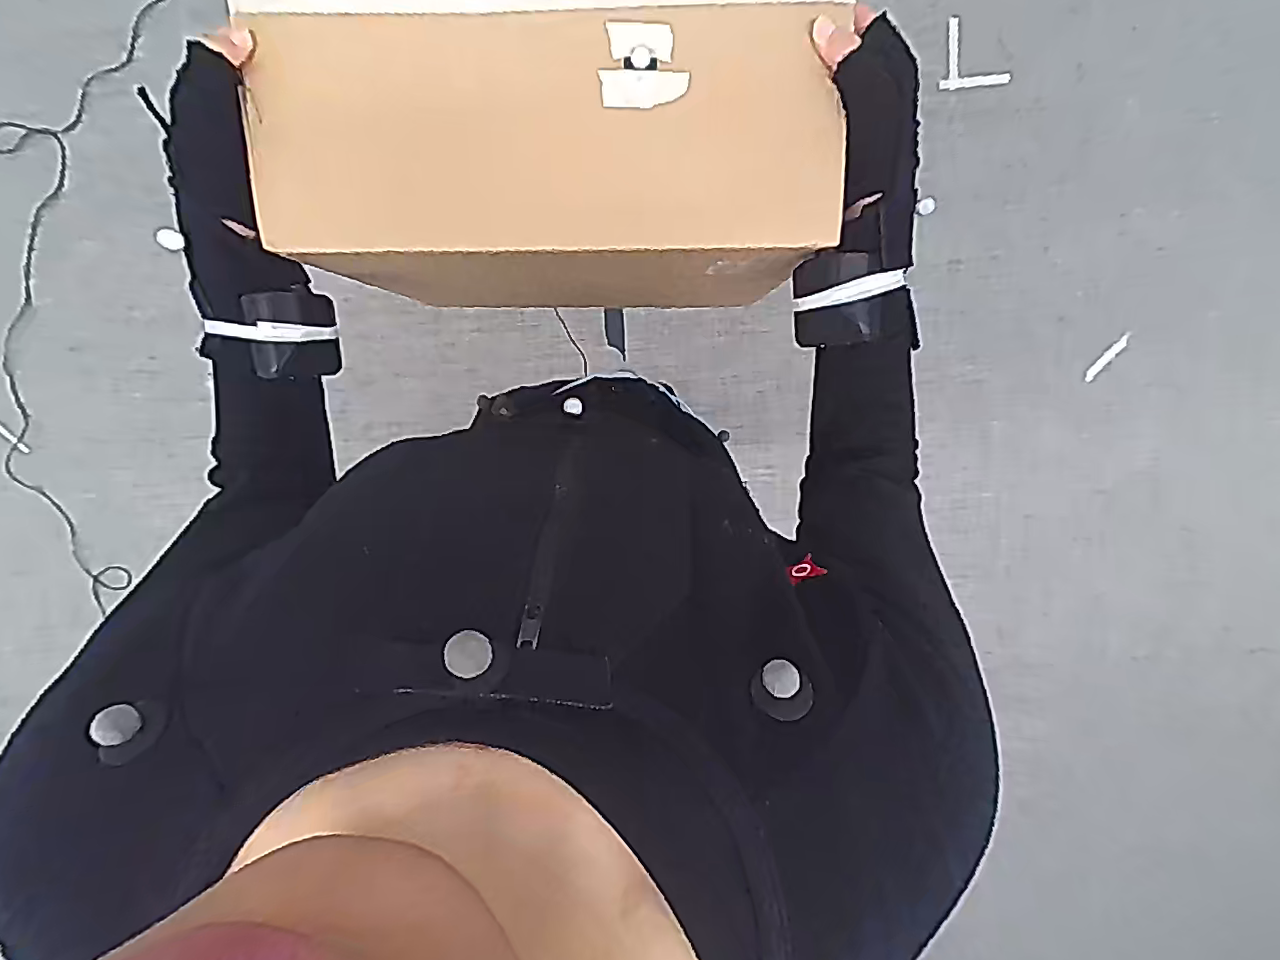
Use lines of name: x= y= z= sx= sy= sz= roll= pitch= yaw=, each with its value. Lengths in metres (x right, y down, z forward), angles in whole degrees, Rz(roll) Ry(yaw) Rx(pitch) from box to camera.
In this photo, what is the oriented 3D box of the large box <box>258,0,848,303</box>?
large box: x=-0.059 y=-0.350 z=0.507 sx=0.408 sy=0.320 sz=0.320 roll=0 pitch=102 yaw=0
